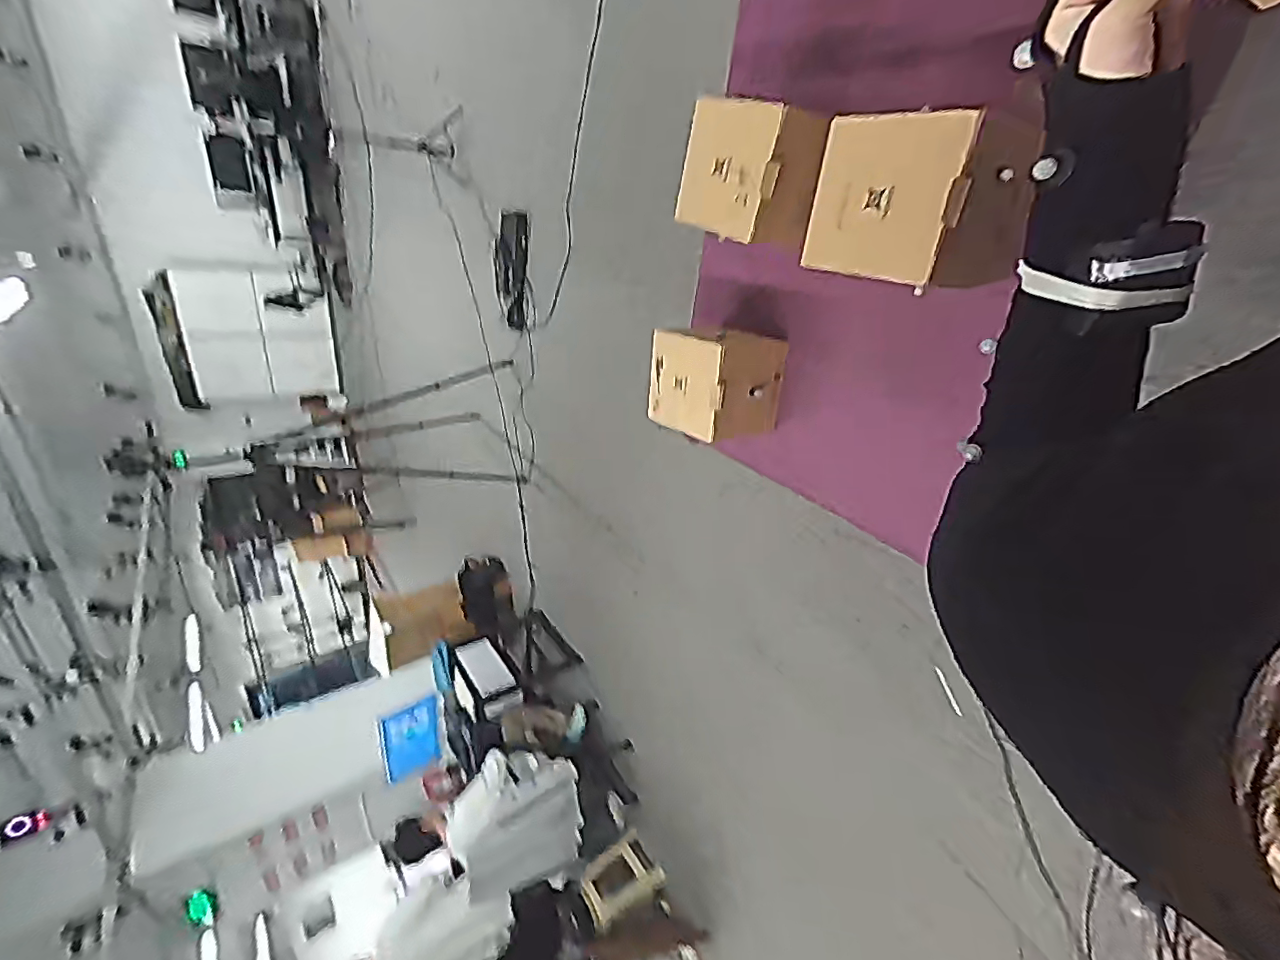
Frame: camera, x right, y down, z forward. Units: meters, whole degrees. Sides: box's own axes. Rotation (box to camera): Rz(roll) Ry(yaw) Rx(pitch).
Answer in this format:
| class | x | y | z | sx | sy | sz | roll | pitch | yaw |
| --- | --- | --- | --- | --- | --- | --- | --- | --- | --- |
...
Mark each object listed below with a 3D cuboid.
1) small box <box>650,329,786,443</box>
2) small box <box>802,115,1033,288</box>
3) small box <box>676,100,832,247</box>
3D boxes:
| class | x | y | z | sx | sy | sz | roll | pitch | yaw |
| --- | --- | --- | --- | --- | --- | --- | --- | --- | --- |
| small box | 0.142 | -0.181 | 0.990 | 0.179 | 0.176 | 0.168 | 29 | 123 | 45 |
| small box | 0.338 | -0.337 | 0.669 | 0.179 | 0.176 | 0.168 | 36 | 128 | 44 |
| small box | 0.187 | -0.465 | 0.833 | 0.179 | 0.176 | 0.168 | 41 | 132 | 39 |
